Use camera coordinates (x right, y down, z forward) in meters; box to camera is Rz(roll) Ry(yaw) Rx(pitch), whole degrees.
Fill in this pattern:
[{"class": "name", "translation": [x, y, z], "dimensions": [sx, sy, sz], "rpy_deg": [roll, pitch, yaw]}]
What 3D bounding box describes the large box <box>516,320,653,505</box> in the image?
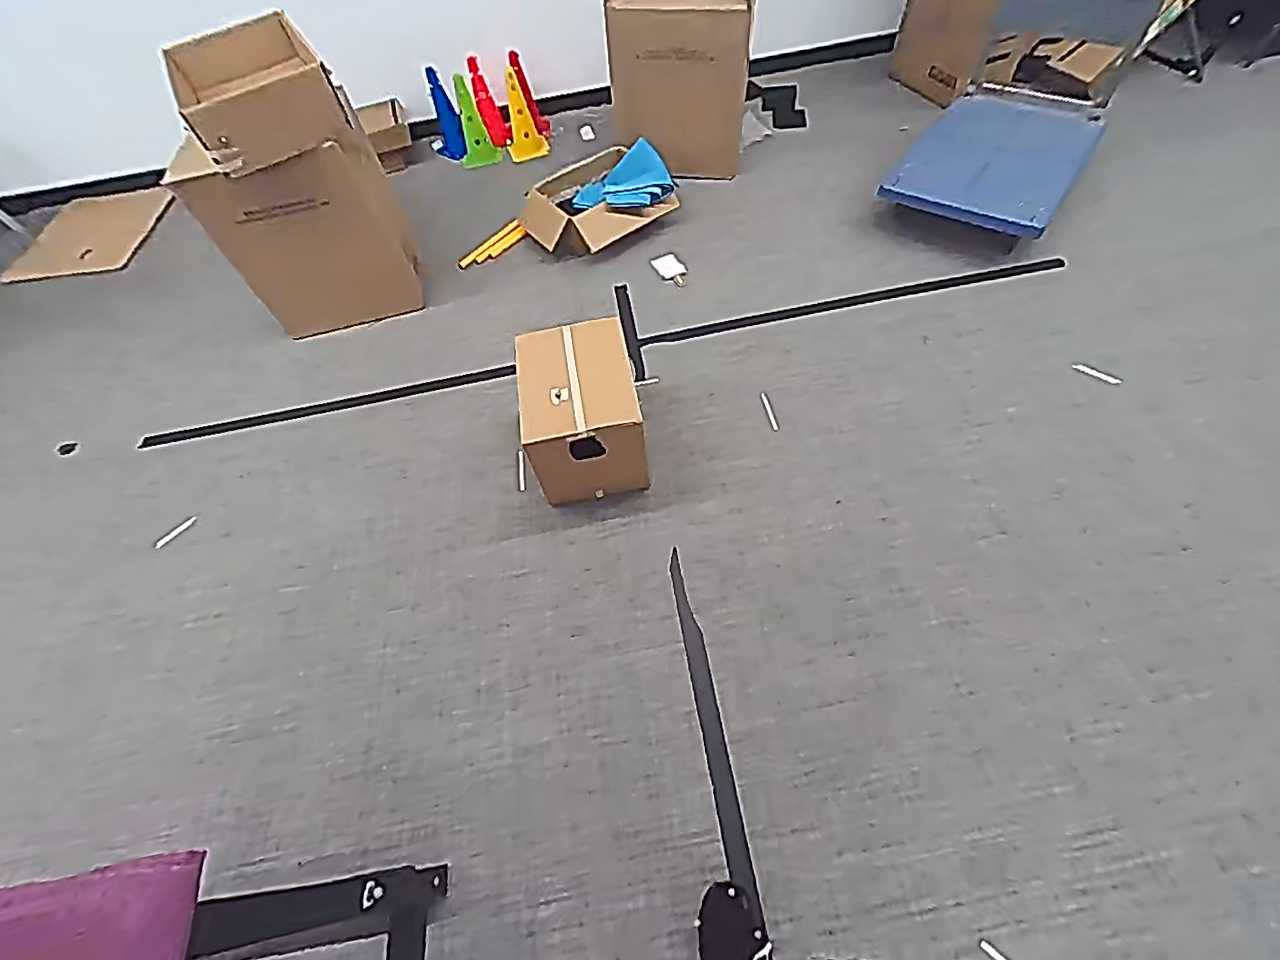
[{"class": "large box", "translation": [-0.157, -0.195, 1.579], "dimensions": [0.320, 0.320, 0.408], "rpy_deg": [-12, 57, -1]}]
